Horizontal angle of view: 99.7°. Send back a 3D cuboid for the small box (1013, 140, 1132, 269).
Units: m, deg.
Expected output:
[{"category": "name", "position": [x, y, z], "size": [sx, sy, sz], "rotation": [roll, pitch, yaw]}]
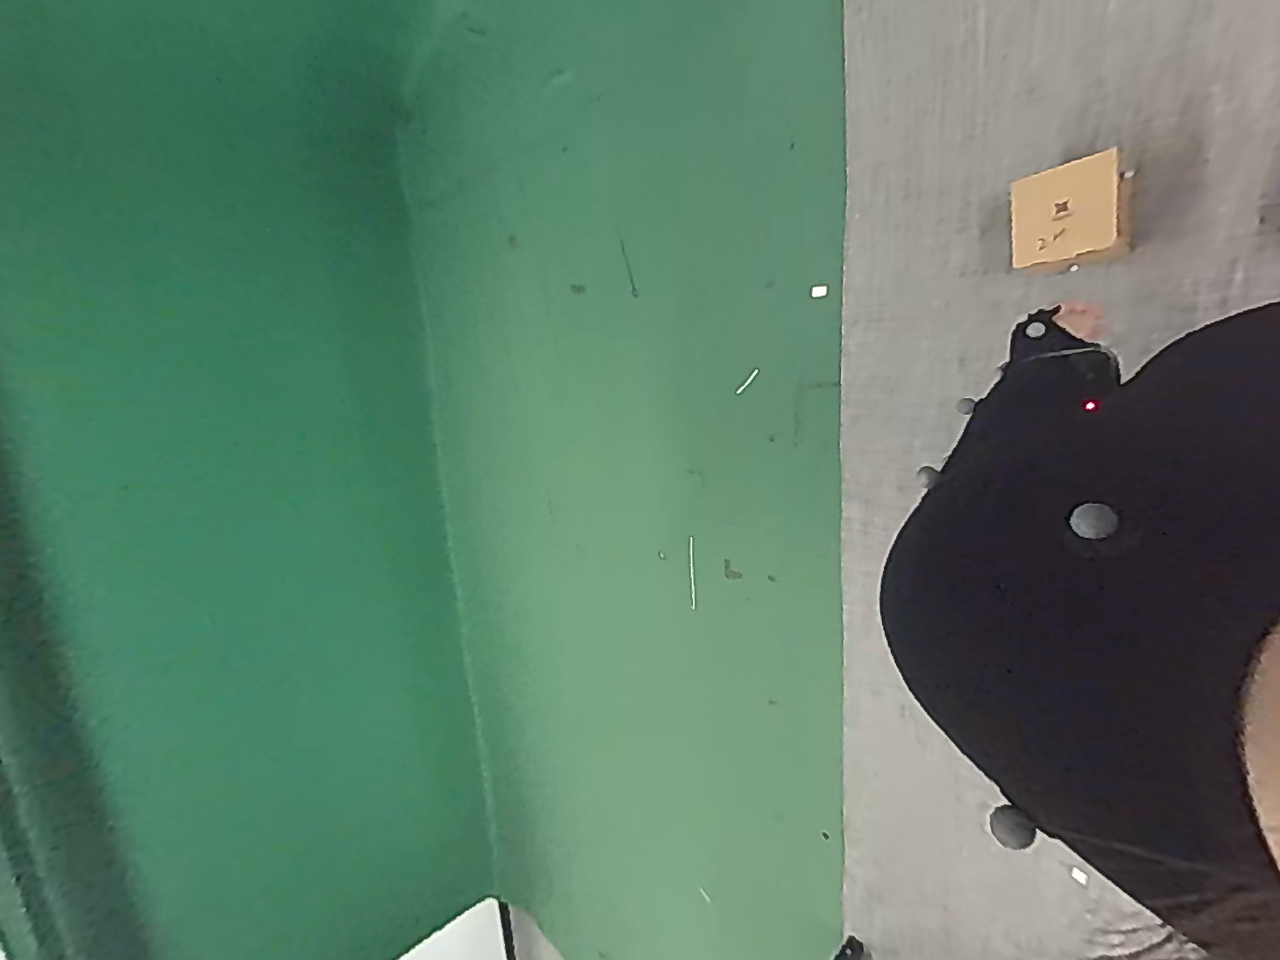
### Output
[{"category": "small box", "position": [0.872, -0.543, 1.092], "size": [0.168, 0.176, 0.179], "rotation": [2, 101, 49]}]
